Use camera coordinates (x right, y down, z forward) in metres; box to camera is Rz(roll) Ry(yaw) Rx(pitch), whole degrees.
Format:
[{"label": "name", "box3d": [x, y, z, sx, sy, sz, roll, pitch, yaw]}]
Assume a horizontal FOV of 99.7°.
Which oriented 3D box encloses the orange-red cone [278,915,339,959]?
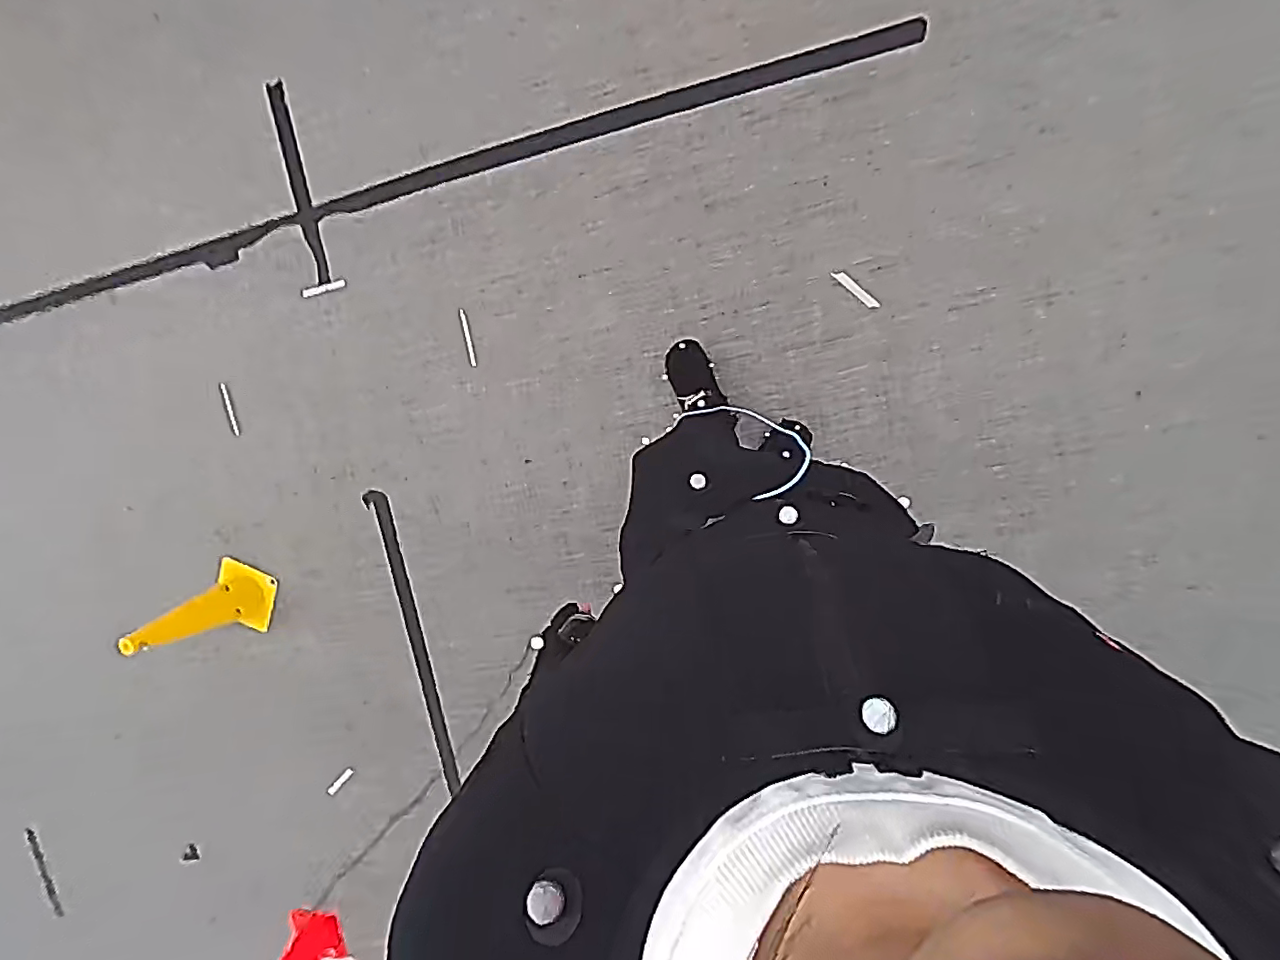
[{"label": "orange-red cone", "box3d": [-1.201, 1.674, 1.770, 0.198, 0.360, 0.199, -2, 98, 9]}]
